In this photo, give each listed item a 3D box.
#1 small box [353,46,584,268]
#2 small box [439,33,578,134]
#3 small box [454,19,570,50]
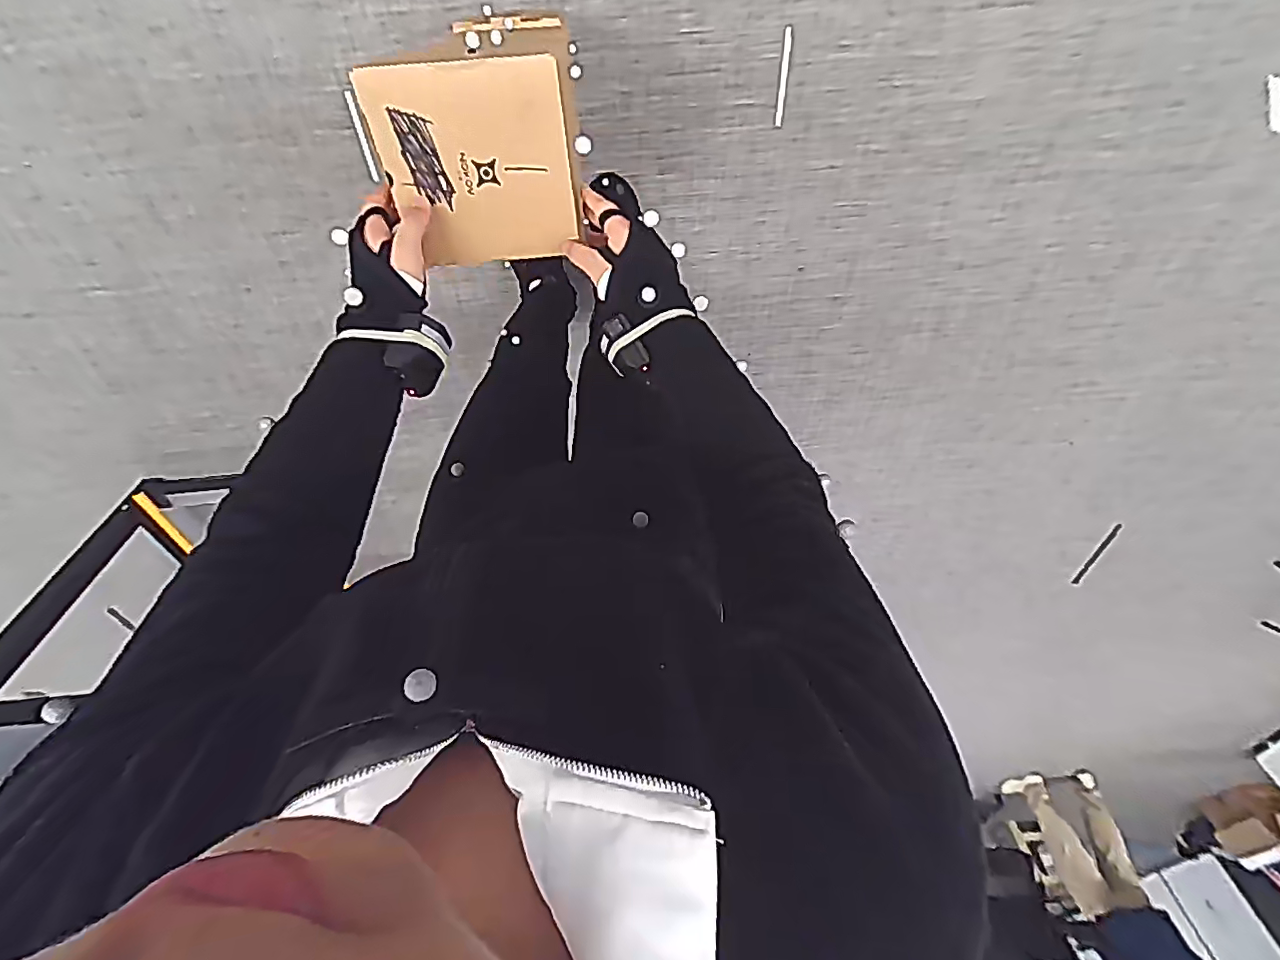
[{"bbox_3d":[-0.154,-0.337,0.561,0.179,0.176,0.168,-5,133,-1],"label":"small box"},{"bbox_3d":[-0.182,-0.553,0.808,0.168,0.176,0.179,-3,133,-1],"label":"small box"},{"bbox_3d":[-0.200,-0.670,0.923,0.168,0.176,0.179,-4,134,0],"label":"small box"}]
